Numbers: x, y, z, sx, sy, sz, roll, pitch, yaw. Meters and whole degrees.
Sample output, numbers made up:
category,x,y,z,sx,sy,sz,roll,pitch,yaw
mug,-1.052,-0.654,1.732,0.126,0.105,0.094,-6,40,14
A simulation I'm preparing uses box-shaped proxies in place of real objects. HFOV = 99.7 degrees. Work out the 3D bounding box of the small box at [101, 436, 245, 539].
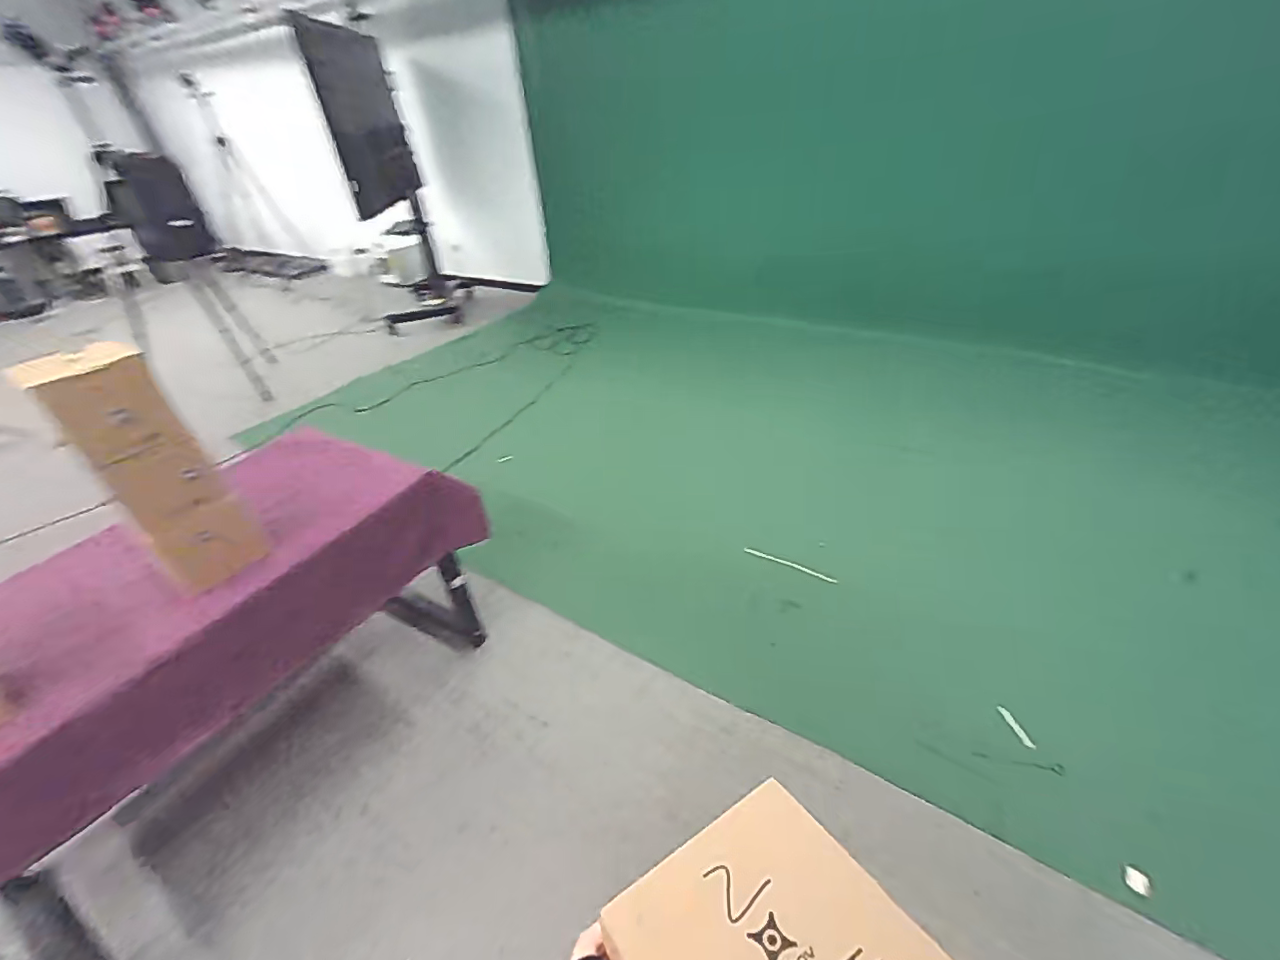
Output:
category,x,y,z,sx,sy,sz,roll,pitch,yaw
small box,-0.986,0.001,1.142,0.179,0.176,0.168,19,42,32

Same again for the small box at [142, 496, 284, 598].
category,x,y,z,sx,sy,sz,roll,pitch,yaw
small box,-0.963,0.136,1.231,0.168,0.176,0.179,20,43,32

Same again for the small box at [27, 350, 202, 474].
category,x,y,z,sx,sy,sz,roll,pitch,yaw
small box,-1.004,-0.131,1.046,0.179,0.176,0.168,19,42,31
